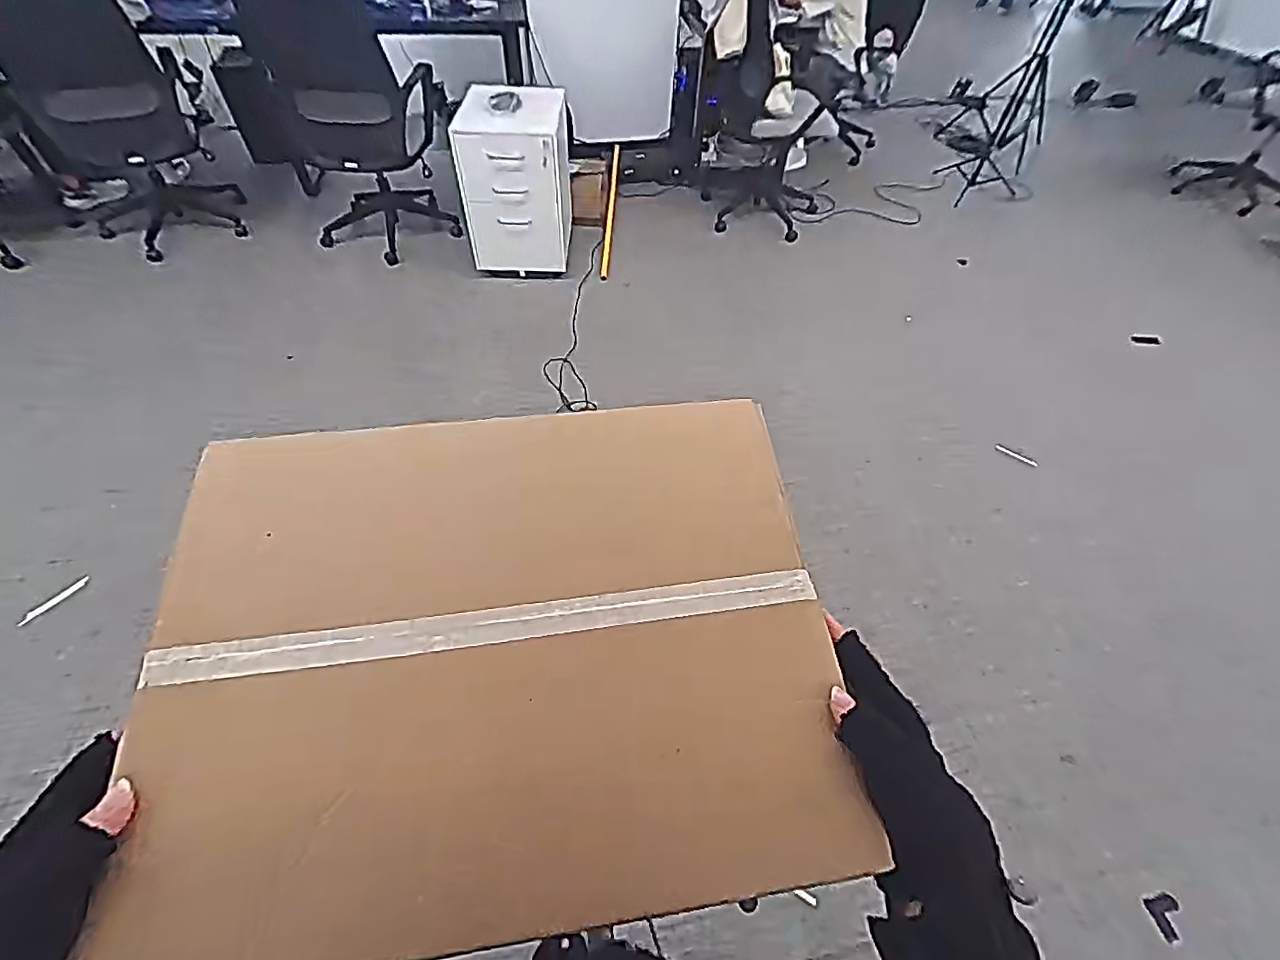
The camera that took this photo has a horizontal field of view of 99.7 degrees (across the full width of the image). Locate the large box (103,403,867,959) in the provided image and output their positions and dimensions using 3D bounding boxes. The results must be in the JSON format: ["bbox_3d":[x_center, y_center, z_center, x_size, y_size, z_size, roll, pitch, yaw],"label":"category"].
[{"bbox_3d":[-0.093,0.161,0.479,0.408,0.320,0.320,-6,62,-6],"label":"large box"}]
